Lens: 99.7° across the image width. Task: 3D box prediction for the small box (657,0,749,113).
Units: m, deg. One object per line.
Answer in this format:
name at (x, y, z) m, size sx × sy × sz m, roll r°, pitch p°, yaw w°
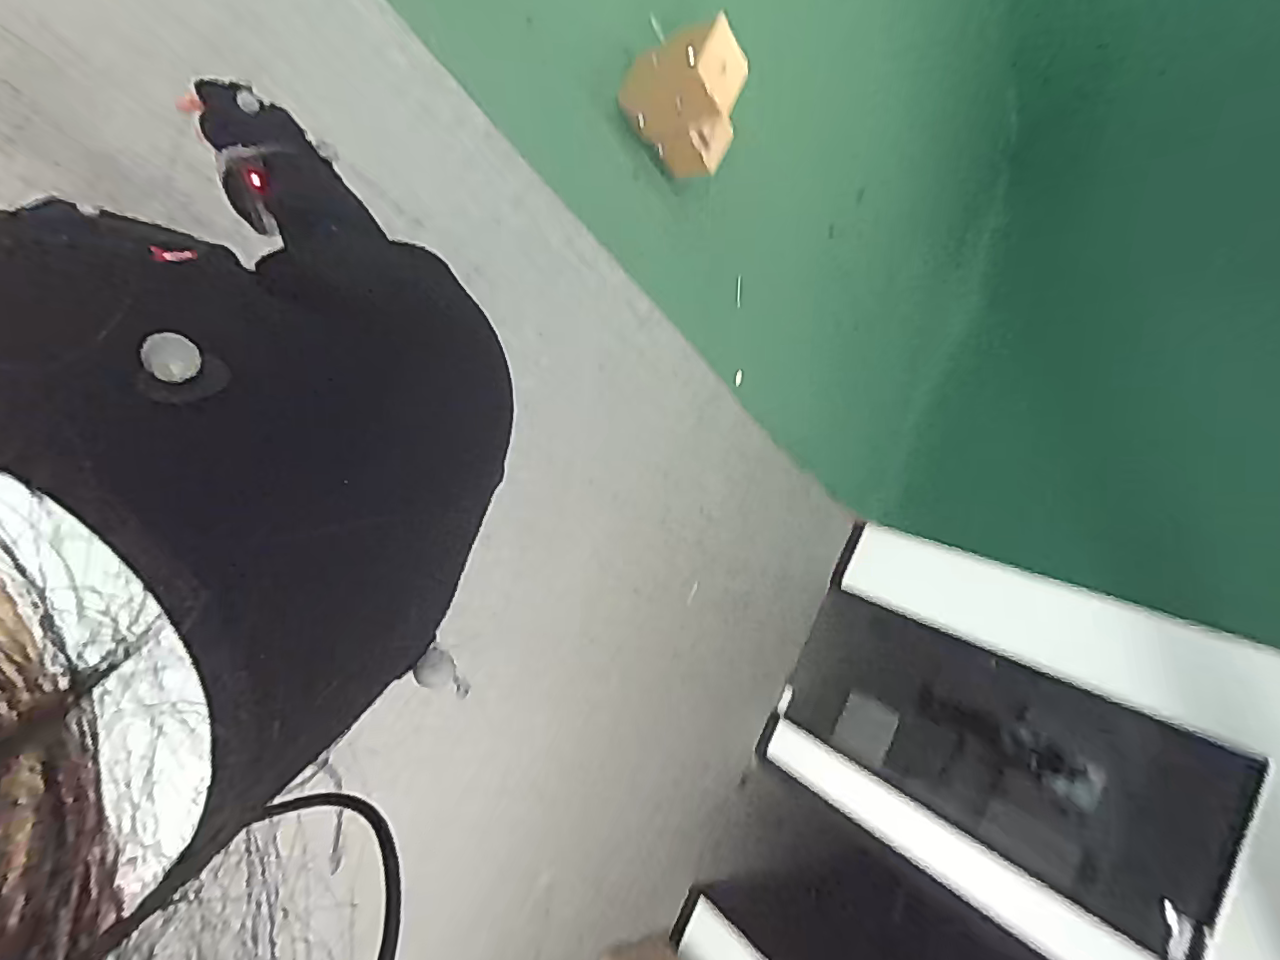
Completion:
small box at (0.175, -1.194, 1.540) m, size 0.168 × 0.176 × 0.179 m, roll 29°, pitch 85°, yaw -47°
